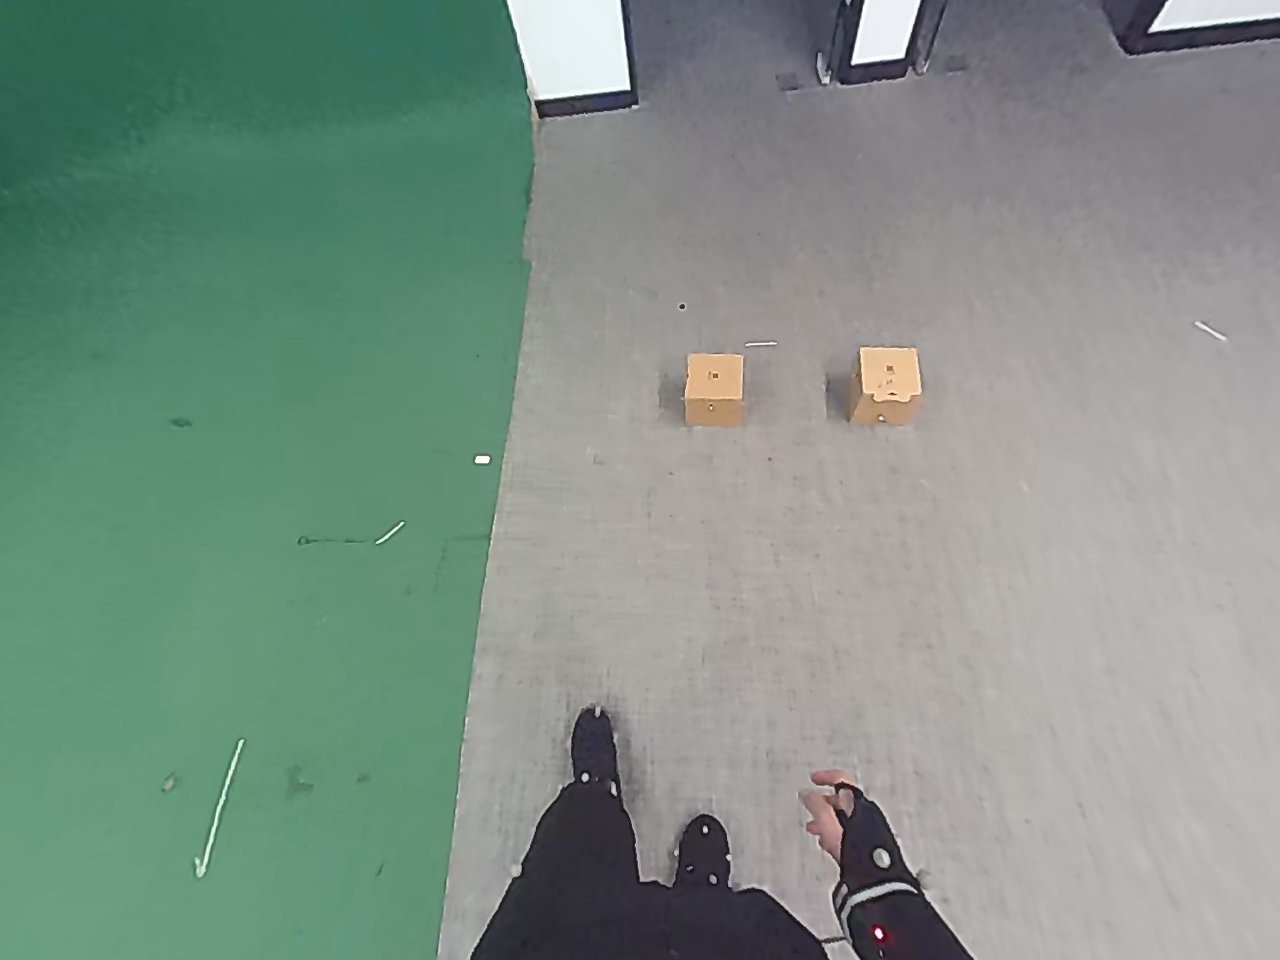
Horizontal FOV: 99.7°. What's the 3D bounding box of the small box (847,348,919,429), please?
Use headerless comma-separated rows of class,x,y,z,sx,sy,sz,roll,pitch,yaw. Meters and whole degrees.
small box,0.746,-0.281,1.672,0.168,0.176,0.179,8,68,13

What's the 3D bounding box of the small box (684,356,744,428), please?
small box,0.239,-0.279,1.736,0.179,0.176,0.168,3,66,8
